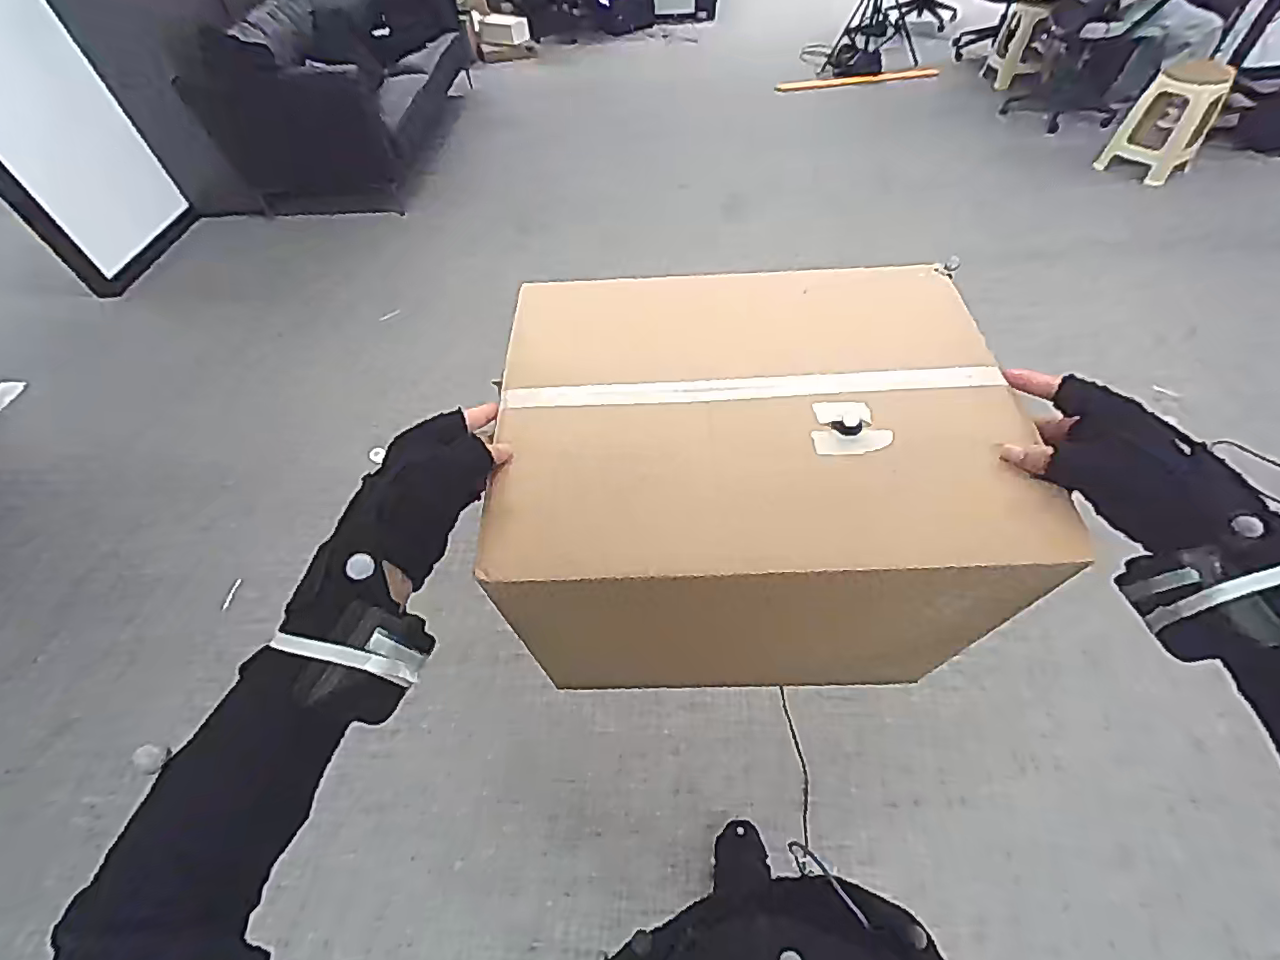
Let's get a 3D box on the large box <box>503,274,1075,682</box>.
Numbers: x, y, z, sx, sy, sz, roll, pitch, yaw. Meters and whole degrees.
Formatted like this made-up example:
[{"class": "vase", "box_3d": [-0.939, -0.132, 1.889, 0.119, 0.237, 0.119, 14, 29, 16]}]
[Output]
[{"class": "large box", "box_3d": [0.100, 0.014, 0.575, 0.408, 0.320, 0.320, -2, 57, 1]}]
